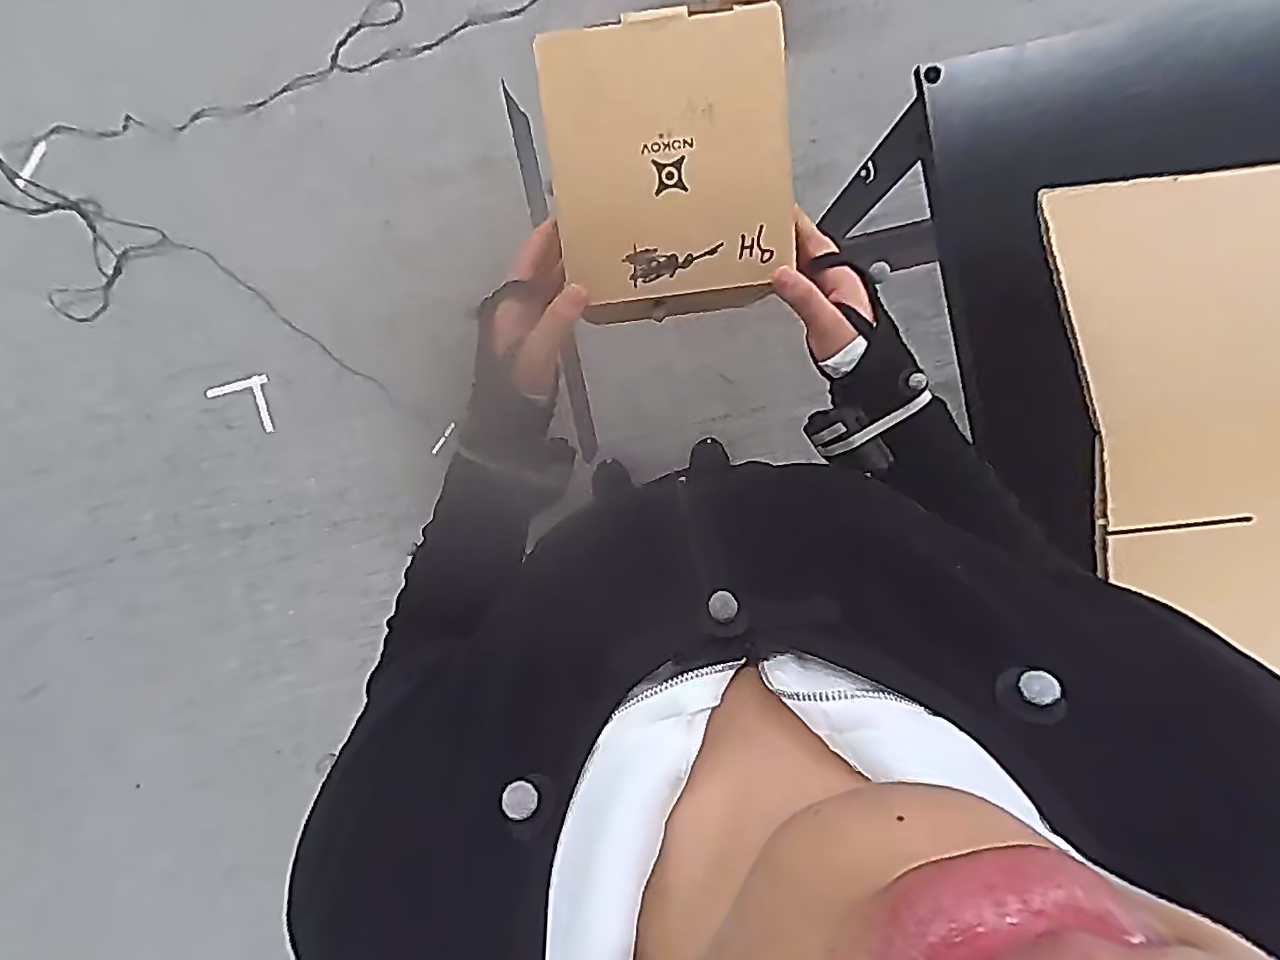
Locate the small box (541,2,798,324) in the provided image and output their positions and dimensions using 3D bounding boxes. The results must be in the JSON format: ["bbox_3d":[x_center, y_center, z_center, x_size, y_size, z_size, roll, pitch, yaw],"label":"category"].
[{"bbox_3d":[0.022,-0.236,0.449,0.168,0.176,0.179,-7,101,1],"label":"small box"}]
